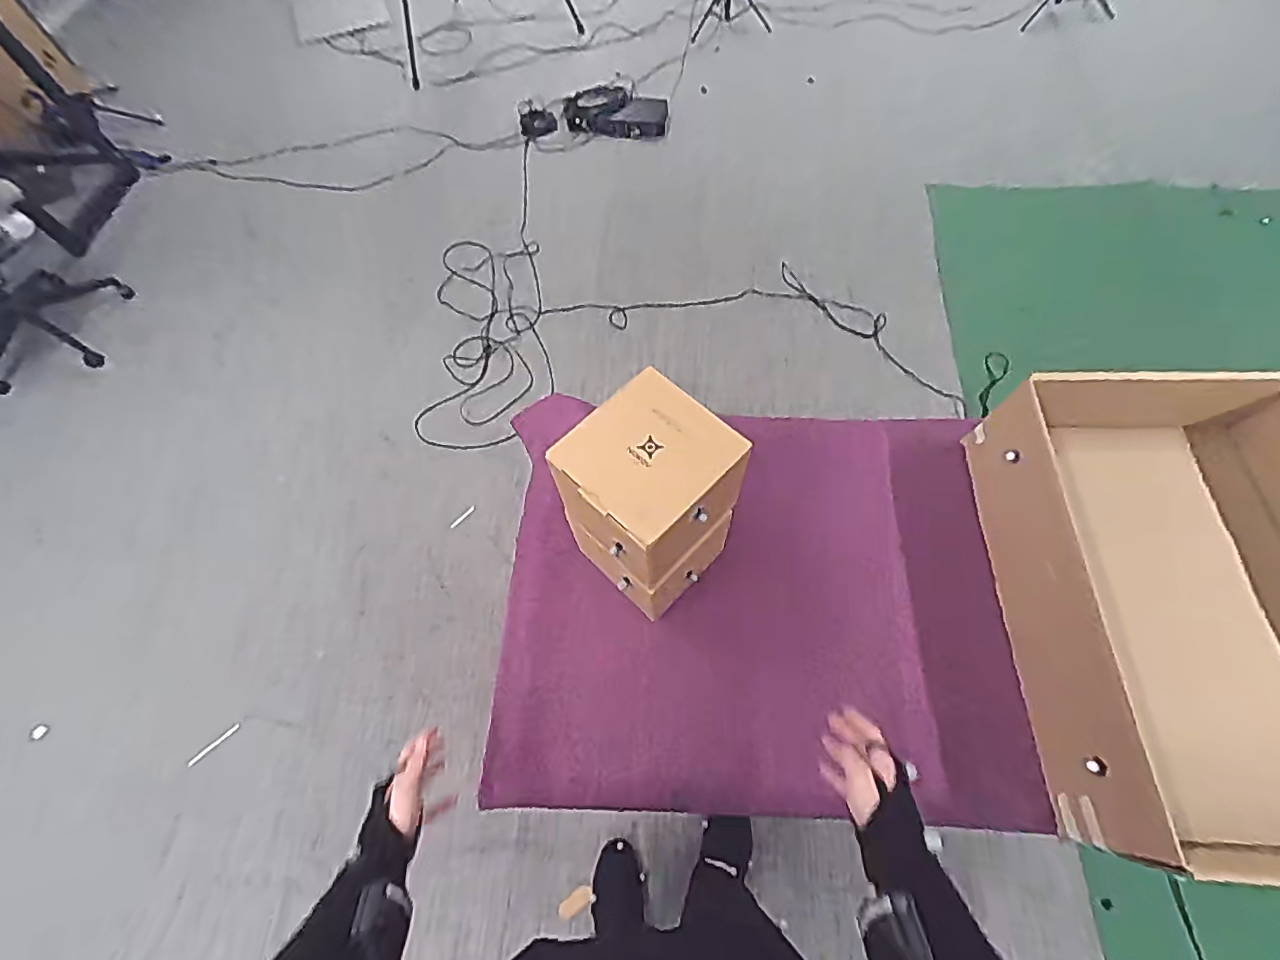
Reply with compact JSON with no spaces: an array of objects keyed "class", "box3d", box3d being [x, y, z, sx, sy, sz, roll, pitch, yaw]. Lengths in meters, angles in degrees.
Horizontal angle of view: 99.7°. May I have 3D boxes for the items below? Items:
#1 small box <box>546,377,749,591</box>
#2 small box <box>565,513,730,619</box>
[{"class":"small box","box3d":[0.012,0.013,0.682,0.179,0.176,0.168,-42,70,-18]},{"class":"small box","box3d":[0.013,0.092,0.825,0.179,0.176,0.168,41,71,21]}]
